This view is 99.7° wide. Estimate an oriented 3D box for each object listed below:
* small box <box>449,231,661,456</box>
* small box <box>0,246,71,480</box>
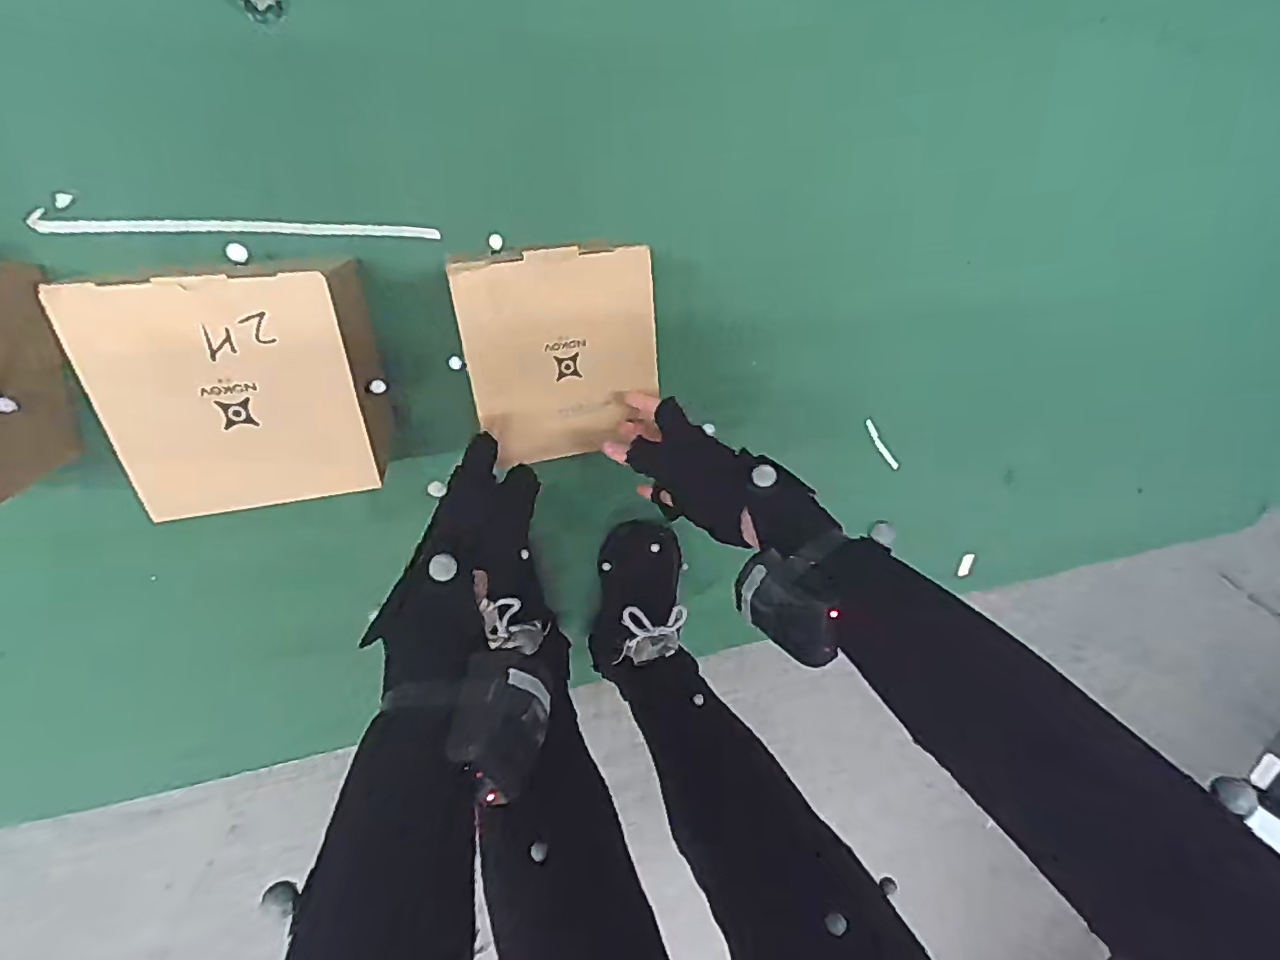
[{"bbox_3d":[-0.086,-0.144,0.528,0.168,0.176,0.179,-11,117,-16],"label":"small box"},{"bbox_3d":[-0.563,-0.089,0.378,0.168,0.176,0.179,4,114,-21],"label":"small box"}]
